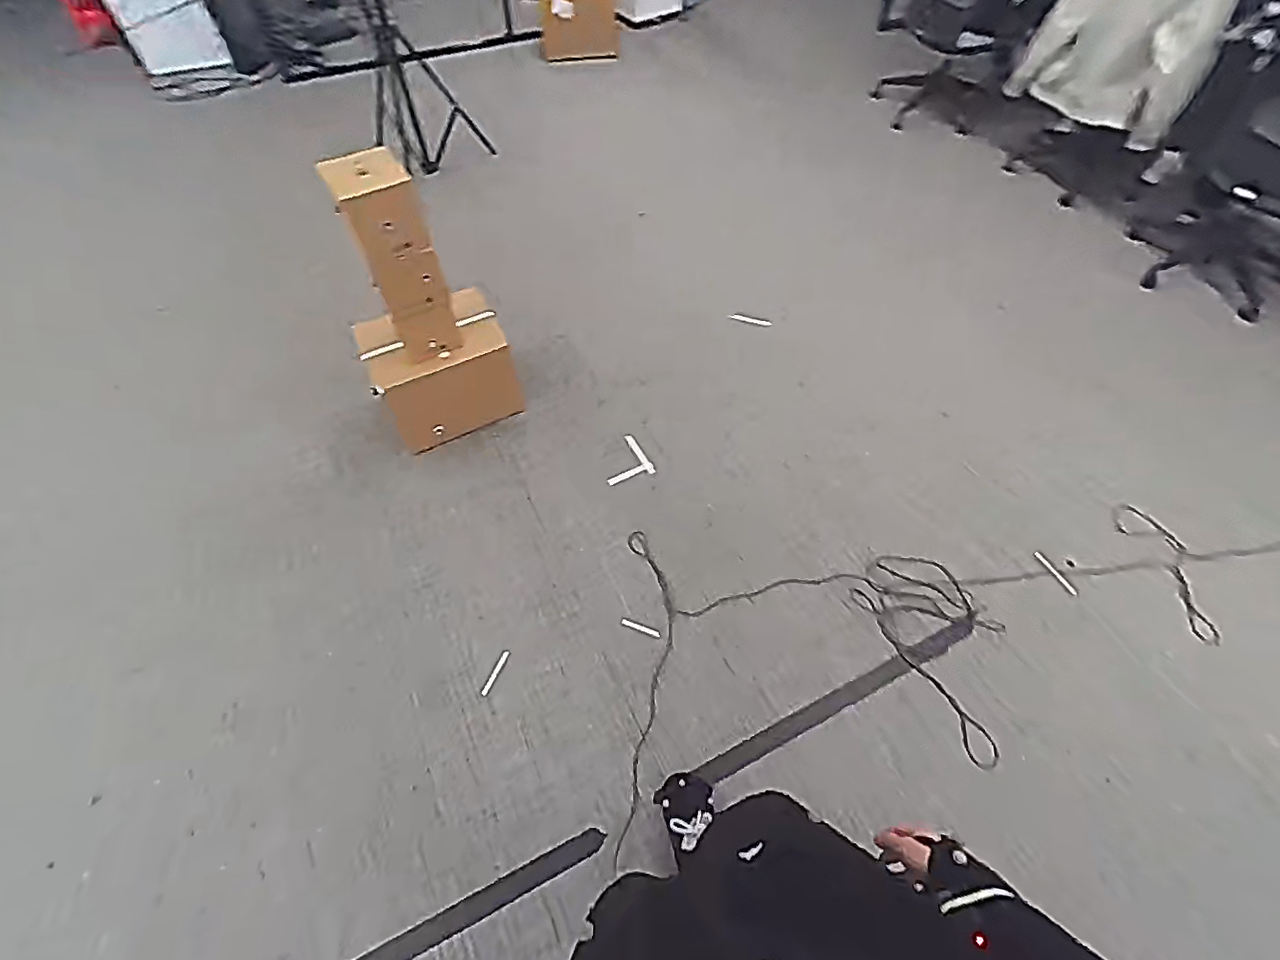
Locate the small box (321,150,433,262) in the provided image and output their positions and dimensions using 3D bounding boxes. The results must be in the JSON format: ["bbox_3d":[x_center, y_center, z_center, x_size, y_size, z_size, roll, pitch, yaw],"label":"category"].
[{"bbox_3d":[-0.625,-0.653,1.303,0.168,0.176,0.179,-29,63,-20],"label":"small box"}]

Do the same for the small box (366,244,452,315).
[{"bbox_3d":[-0.623,-0.563,1.442,0.168,0.176,0.179,-26,61,-18],"label":"small box"}]

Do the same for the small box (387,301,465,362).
[{"bbox_3d":[-0.632,-0.477,1.579,0.168,0.176,0.179,-25,62,-16],"label":"small box"}]
